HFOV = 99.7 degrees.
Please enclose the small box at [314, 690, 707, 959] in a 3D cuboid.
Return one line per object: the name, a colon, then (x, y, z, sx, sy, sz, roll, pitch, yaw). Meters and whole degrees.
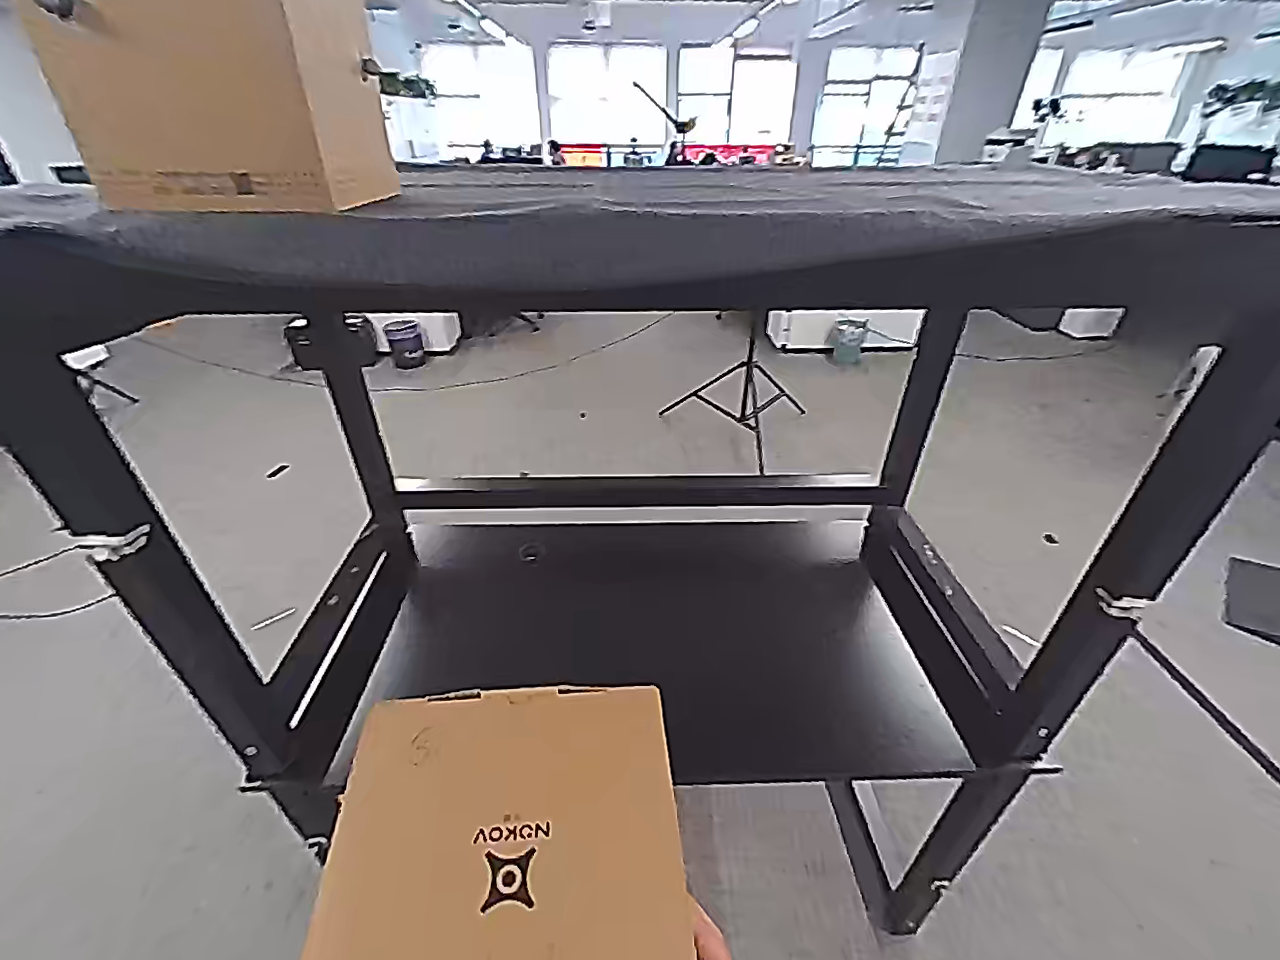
small box: (-0.063, 0.243, 0.300, 0.168, 0.176, 0.179, -1, 41, -8)
